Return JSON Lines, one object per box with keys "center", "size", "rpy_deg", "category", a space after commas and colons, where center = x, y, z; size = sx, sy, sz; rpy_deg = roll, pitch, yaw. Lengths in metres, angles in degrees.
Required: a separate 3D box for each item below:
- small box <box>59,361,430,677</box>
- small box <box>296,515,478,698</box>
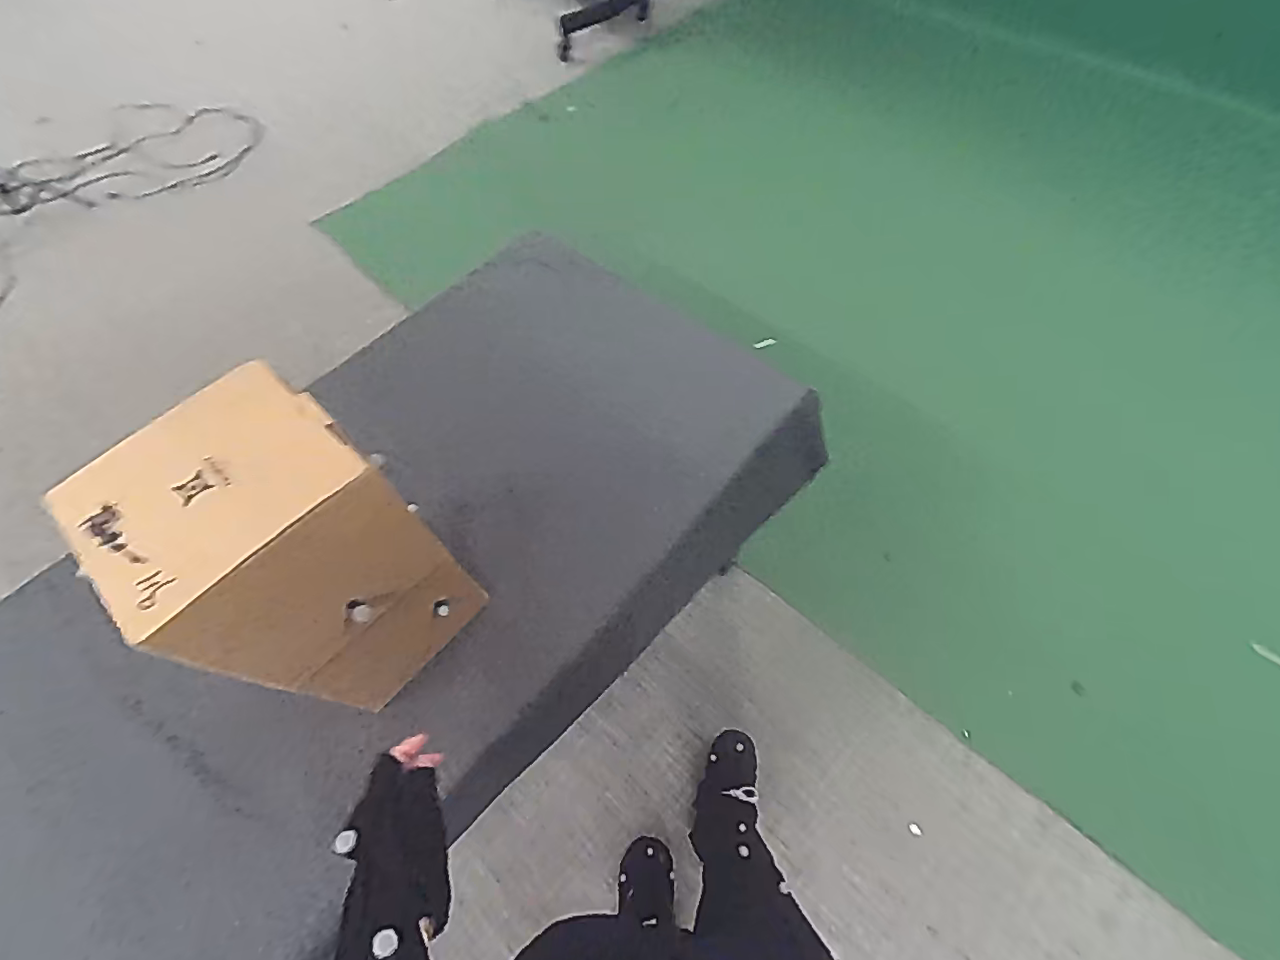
{"center": [-0.309, 0.039, 0.469], "size": [0.168, 0.176, 0.179], "rpy_deg": [38, 68, 21], "category": "small box"}
{"center": [-0.307, 0.118, 0.613], "size": [0.168, 0.176, 0.179], "rpy_deg": [35, 69, 20], "category": "small box"}
